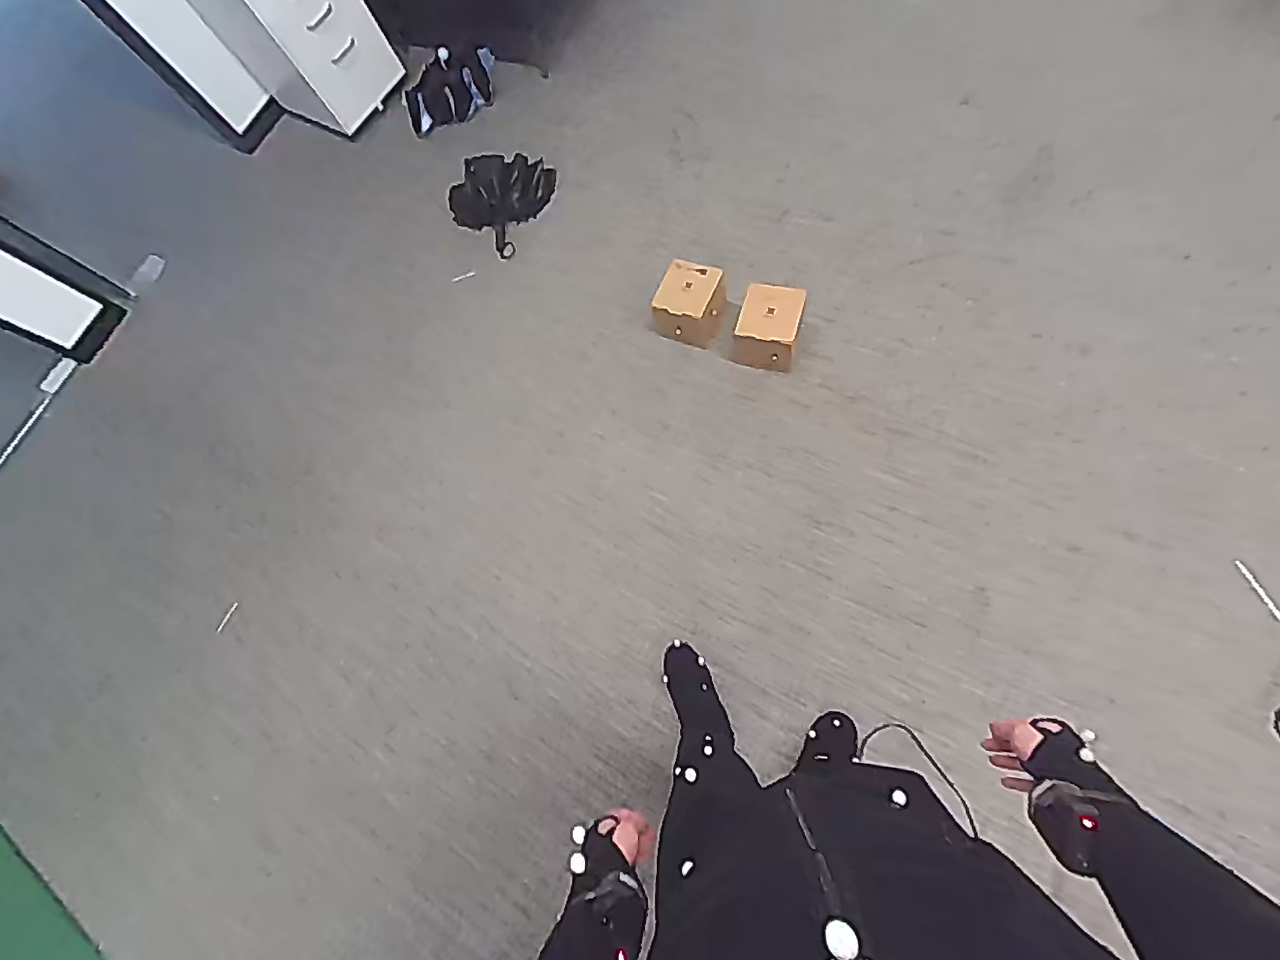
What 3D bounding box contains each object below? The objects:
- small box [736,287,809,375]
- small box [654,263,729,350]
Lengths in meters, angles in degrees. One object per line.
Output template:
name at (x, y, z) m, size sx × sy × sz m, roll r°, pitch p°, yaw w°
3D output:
small box at (0.386, -0.430, 1.576) m, size 0.168 × 0.176 × 0.179 m, roll 14°, pitch 73°, yaw 16°
small box at (0.165, -0.528, 1.662) m, size 0.168 × 0.176 × 0.179 m, roll 22°, pitch 78°, yaw 20°
